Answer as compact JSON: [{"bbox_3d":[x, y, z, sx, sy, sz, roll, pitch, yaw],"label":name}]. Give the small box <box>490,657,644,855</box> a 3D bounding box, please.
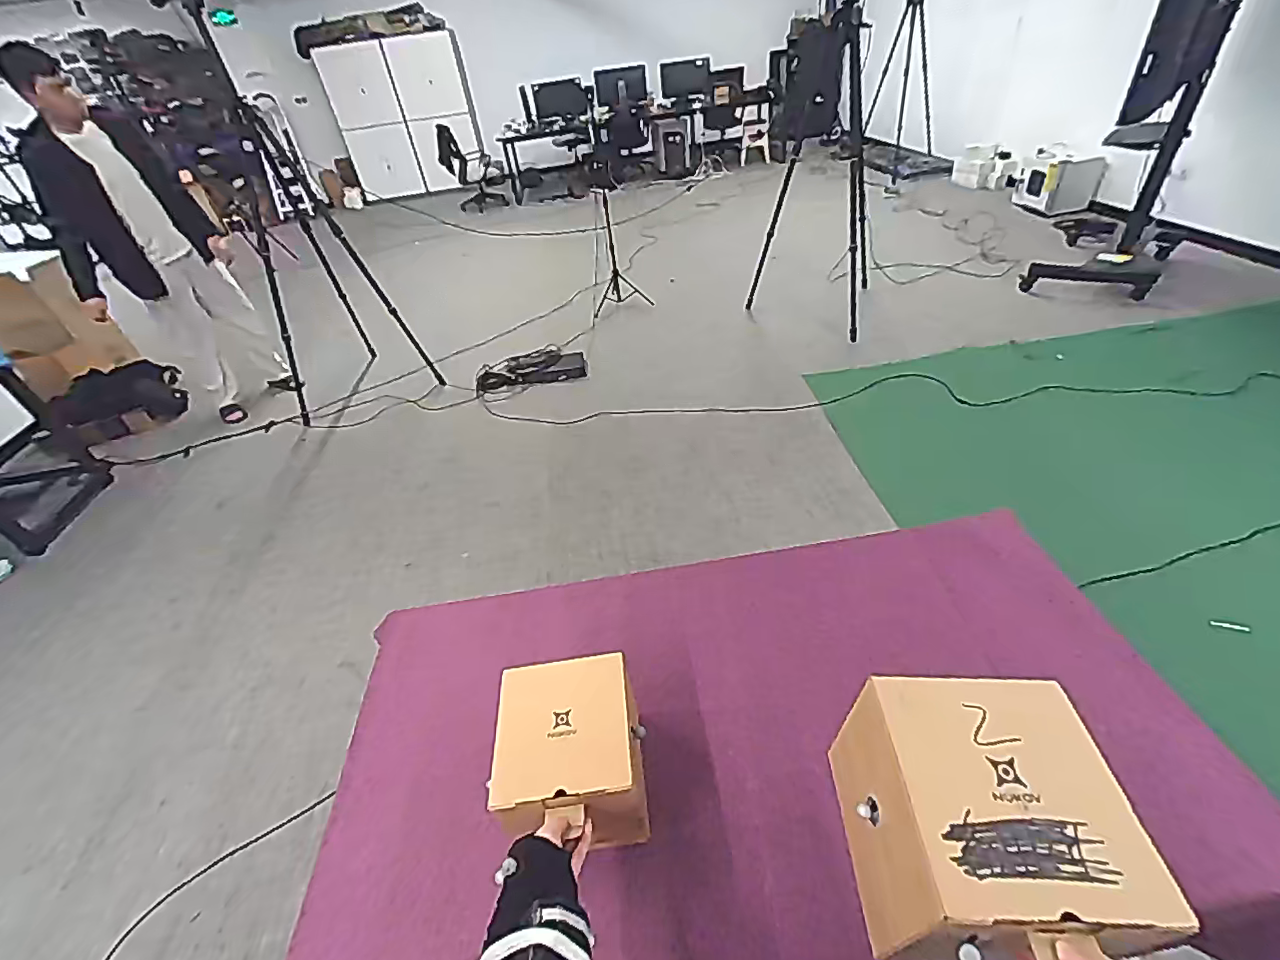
[{"bbox_3d":[-0.090,0.370,0.730,0.168,0.176,0.179,-9,39,0],"label":"small box"}]
